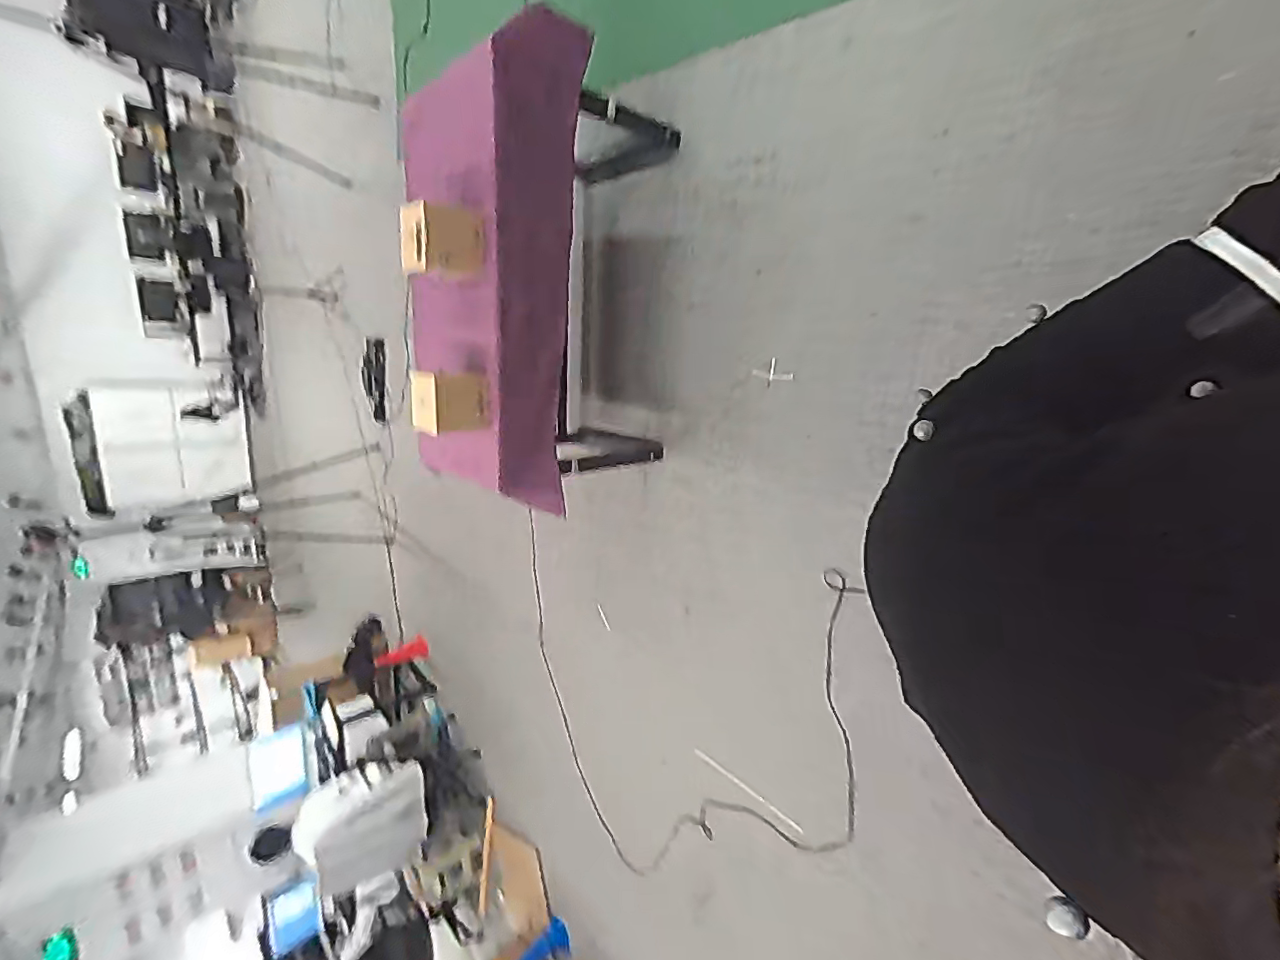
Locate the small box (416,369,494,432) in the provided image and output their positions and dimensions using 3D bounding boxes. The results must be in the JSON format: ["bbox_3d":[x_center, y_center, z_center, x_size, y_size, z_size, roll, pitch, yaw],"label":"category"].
[{"bbox_3d":[-0.560,-0.242,1.632,0.179,0.176,0.168,18,110,44],"label":"small box"}]
